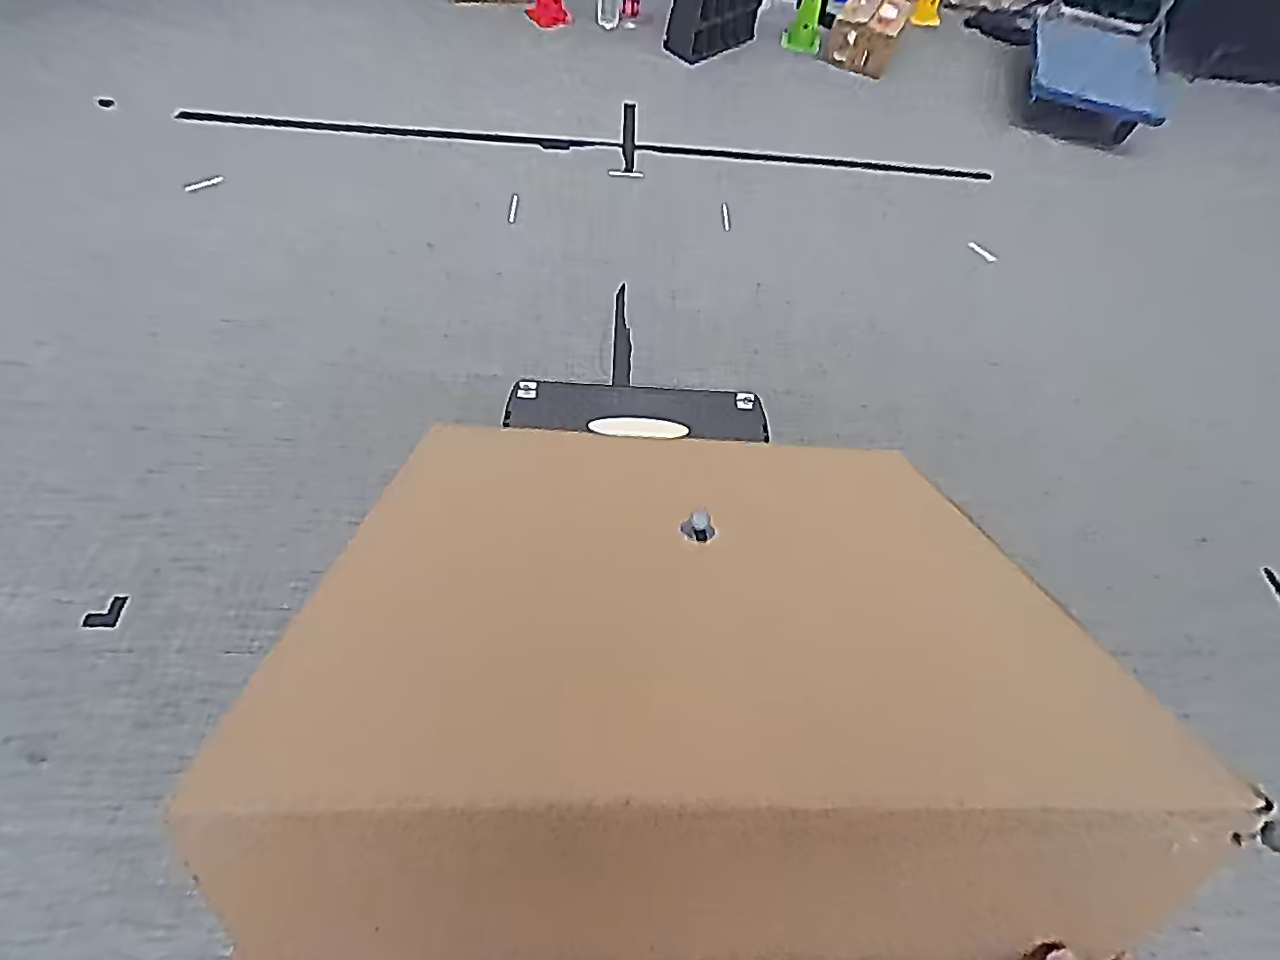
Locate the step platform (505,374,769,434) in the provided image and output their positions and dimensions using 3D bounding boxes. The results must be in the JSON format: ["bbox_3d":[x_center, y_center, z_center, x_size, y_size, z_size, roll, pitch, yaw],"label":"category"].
[{"bbox_3d":[-0.006,-0.085,1.416,0.684,0.204,0.286,7,61,-3],"label":"step platform"}]
